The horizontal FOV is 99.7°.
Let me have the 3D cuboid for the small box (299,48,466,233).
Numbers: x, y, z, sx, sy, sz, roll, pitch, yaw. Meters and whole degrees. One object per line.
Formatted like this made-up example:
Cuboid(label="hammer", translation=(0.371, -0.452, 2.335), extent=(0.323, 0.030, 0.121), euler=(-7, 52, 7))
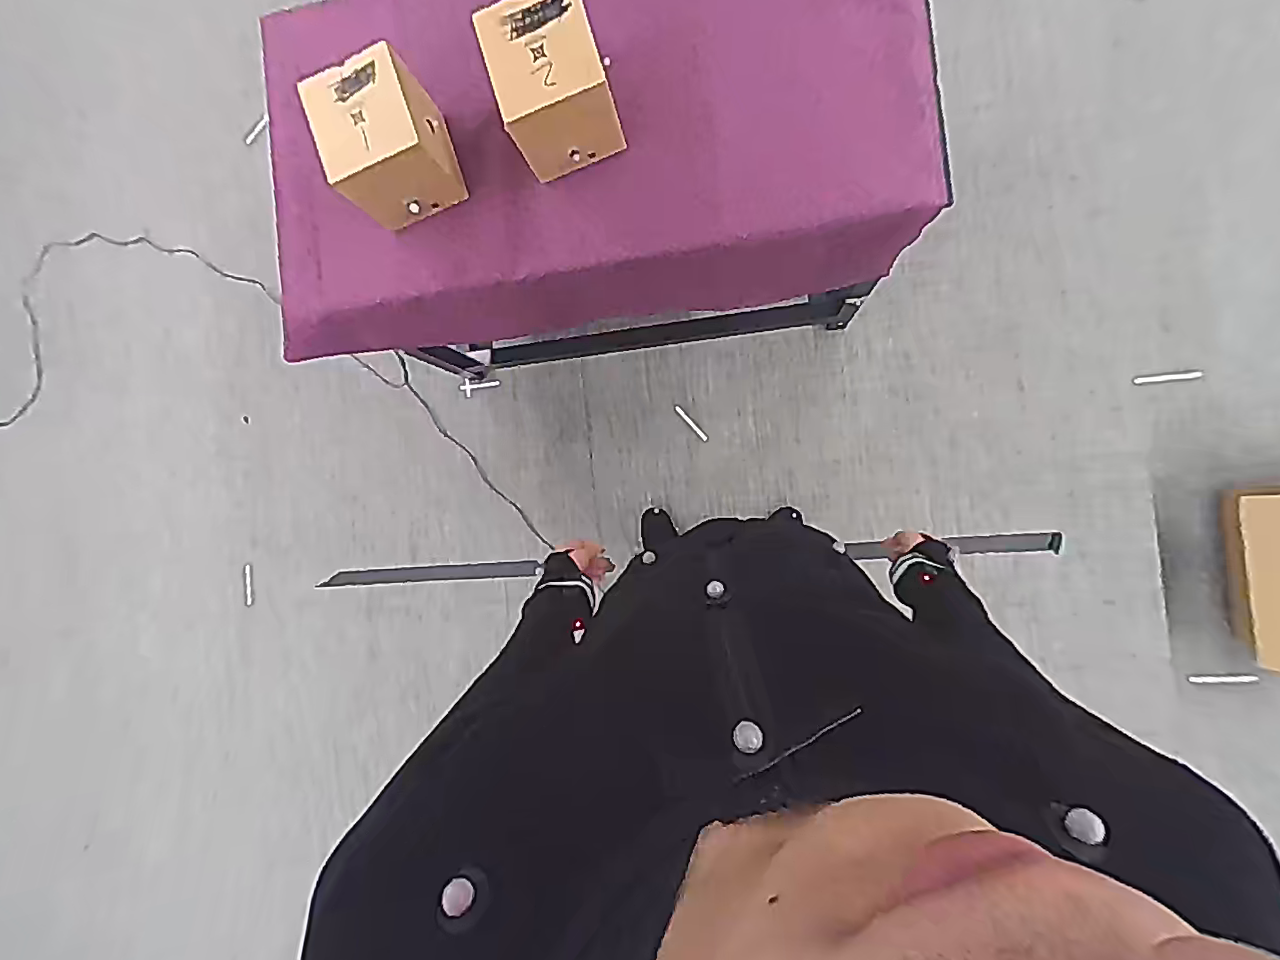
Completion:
Cuboid(label="small box", translation=(-0.427, -0.563, 0.920), extent=(0.168, 0.176, 0.179), euler=(-20, 87, 9))
